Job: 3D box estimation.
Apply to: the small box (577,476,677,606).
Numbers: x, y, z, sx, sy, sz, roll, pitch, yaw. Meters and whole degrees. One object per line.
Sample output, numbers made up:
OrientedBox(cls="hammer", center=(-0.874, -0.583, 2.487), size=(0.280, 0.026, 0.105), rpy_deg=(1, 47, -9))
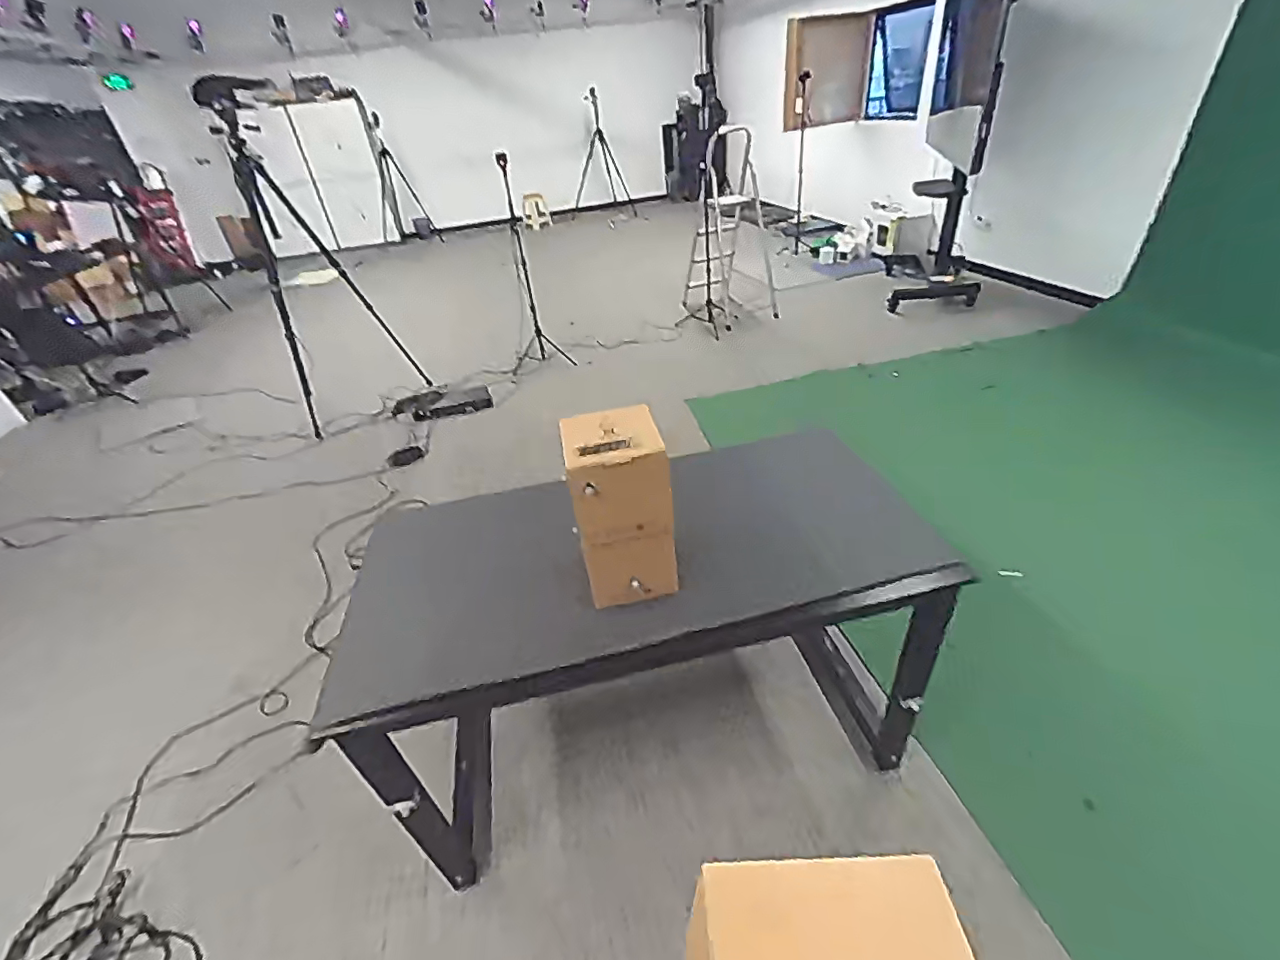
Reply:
OrientedBox(cls="small box", center=(-0.027, 0.118, 1.065), size=(0.168, 0.176, 0.179), rpy_deg=(-11, 34, -5))
